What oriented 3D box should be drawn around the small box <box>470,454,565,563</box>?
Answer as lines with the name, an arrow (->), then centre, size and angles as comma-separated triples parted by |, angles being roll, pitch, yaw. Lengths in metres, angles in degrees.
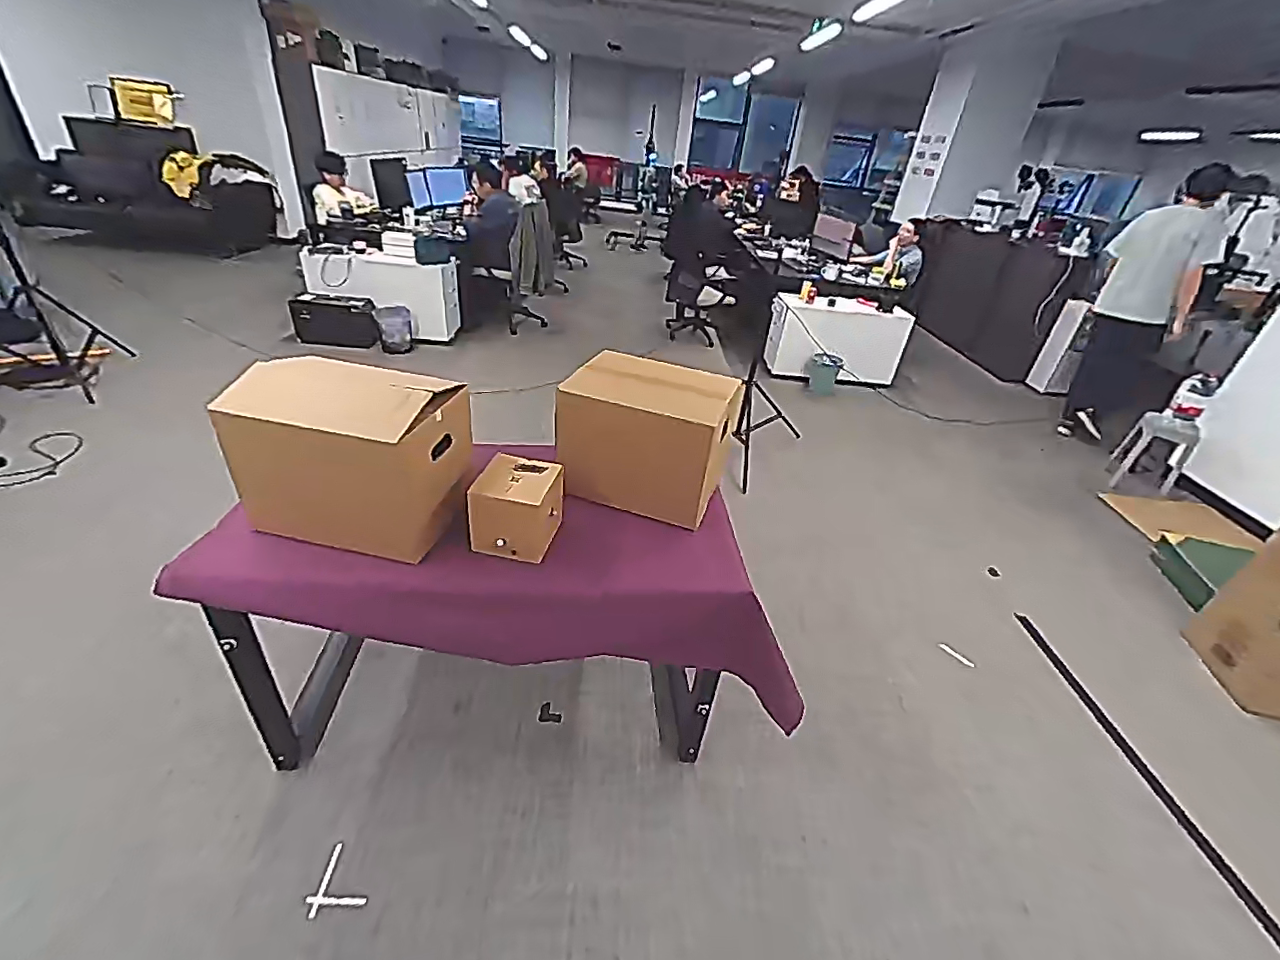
small box -> -0.281, 0.065, 1.261 | 0.168, 0.176, 0.179 | 10, 33, 6
